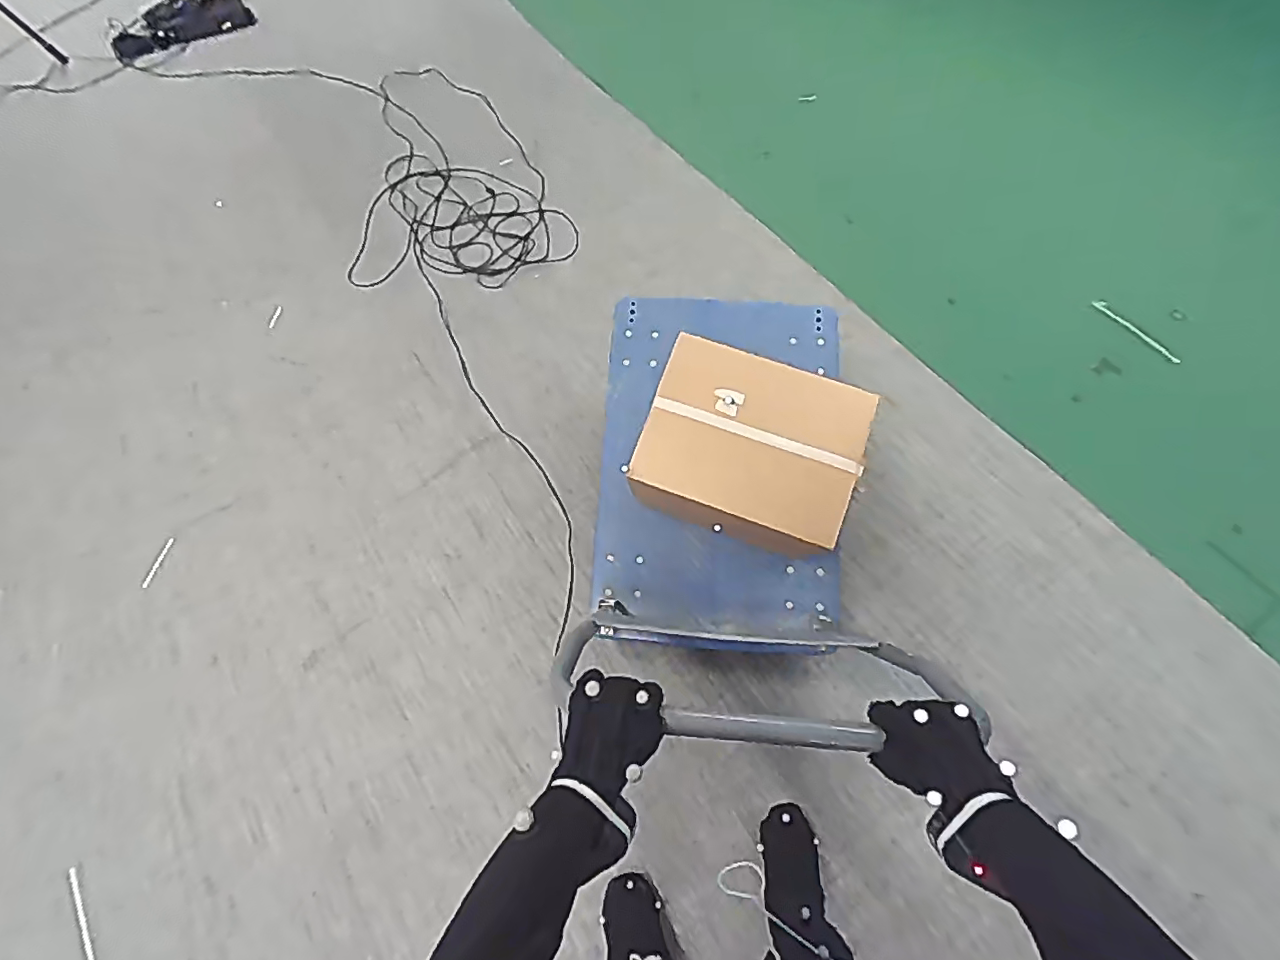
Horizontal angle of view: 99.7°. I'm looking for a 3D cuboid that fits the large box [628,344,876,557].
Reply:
[{"bbox_3d":[0.224,-0.043,1.164,0.408,0.320,0.320,19,80,8],"label":"large box"}]
